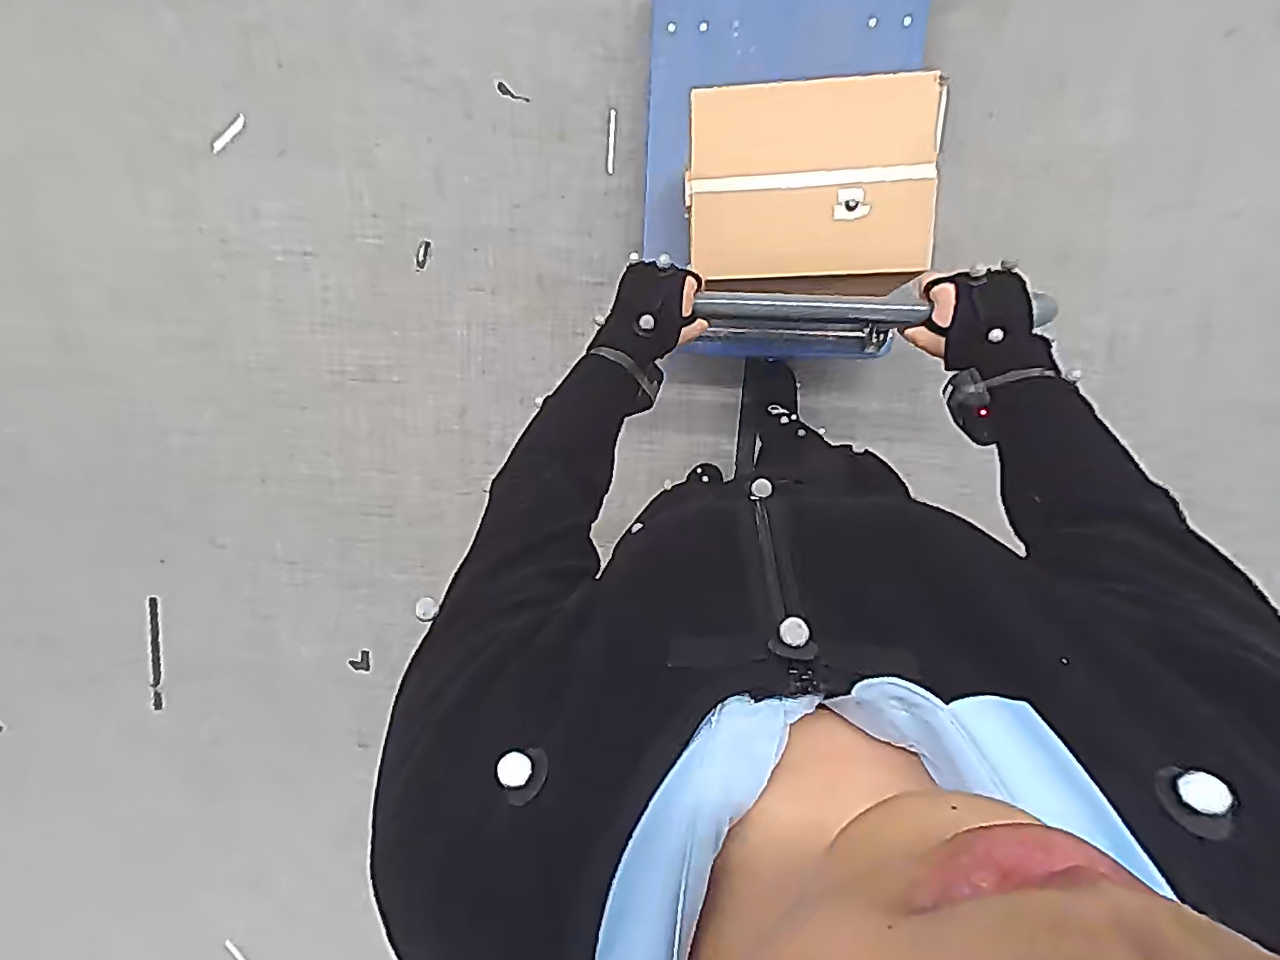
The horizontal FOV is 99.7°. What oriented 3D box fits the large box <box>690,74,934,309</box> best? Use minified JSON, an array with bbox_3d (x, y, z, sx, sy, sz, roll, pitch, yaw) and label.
[{"bbox_3d":[0.305,-0.534,1.074,0.408,0.320,0.320,0,98,5],"label":"large box"}]
